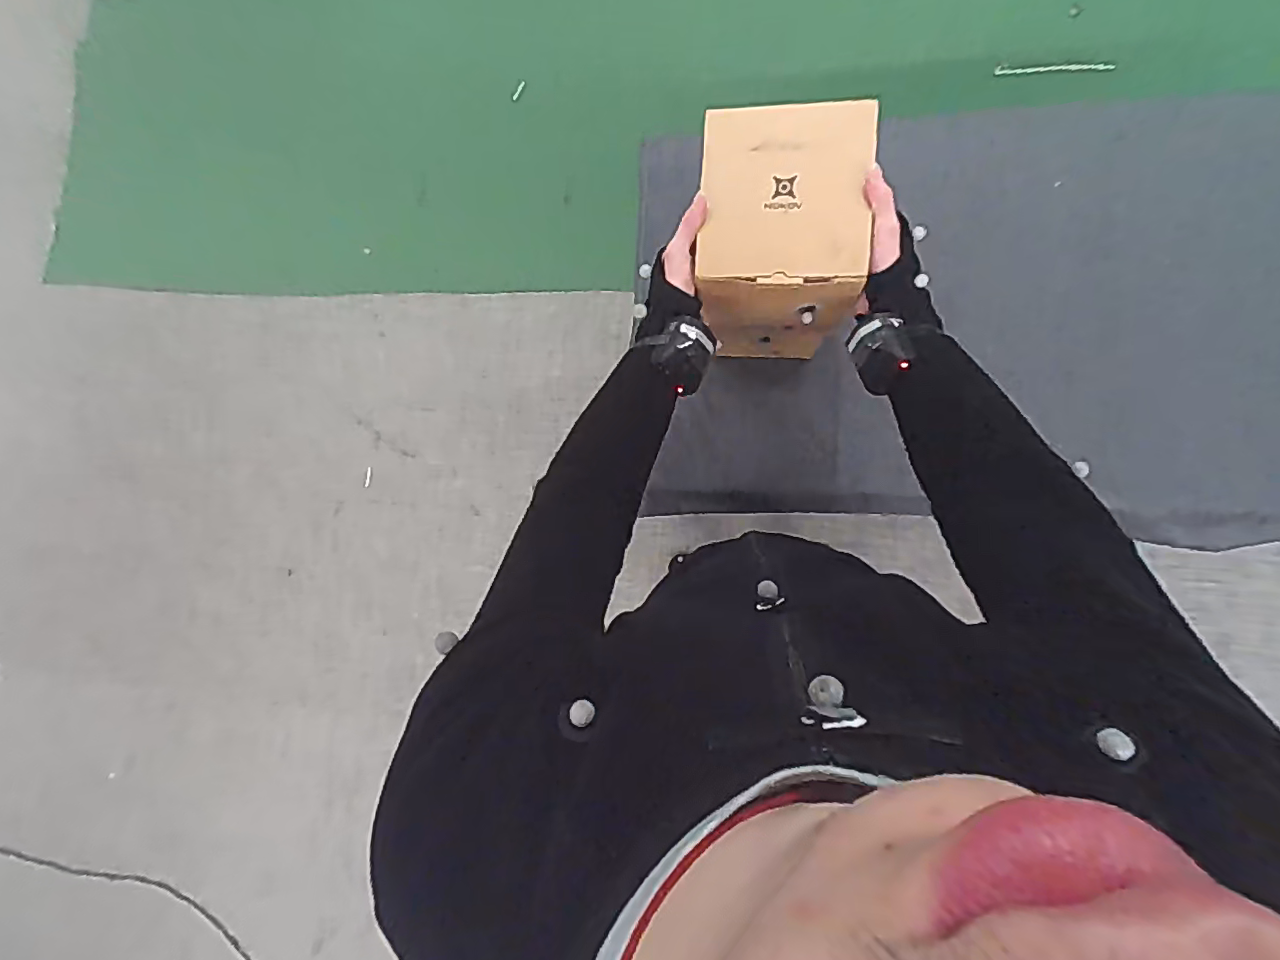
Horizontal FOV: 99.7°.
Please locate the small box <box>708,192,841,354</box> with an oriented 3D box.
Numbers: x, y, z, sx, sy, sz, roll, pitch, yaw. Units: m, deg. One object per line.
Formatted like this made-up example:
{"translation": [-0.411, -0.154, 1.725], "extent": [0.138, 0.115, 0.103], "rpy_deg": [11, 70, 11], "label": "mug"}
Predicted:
{"translation": [0.189, -0.292, 0.796], "extent": [0.168, 0.176, 0.179], "rpy_deg": [3, 85, 8], "label": "small box"}
